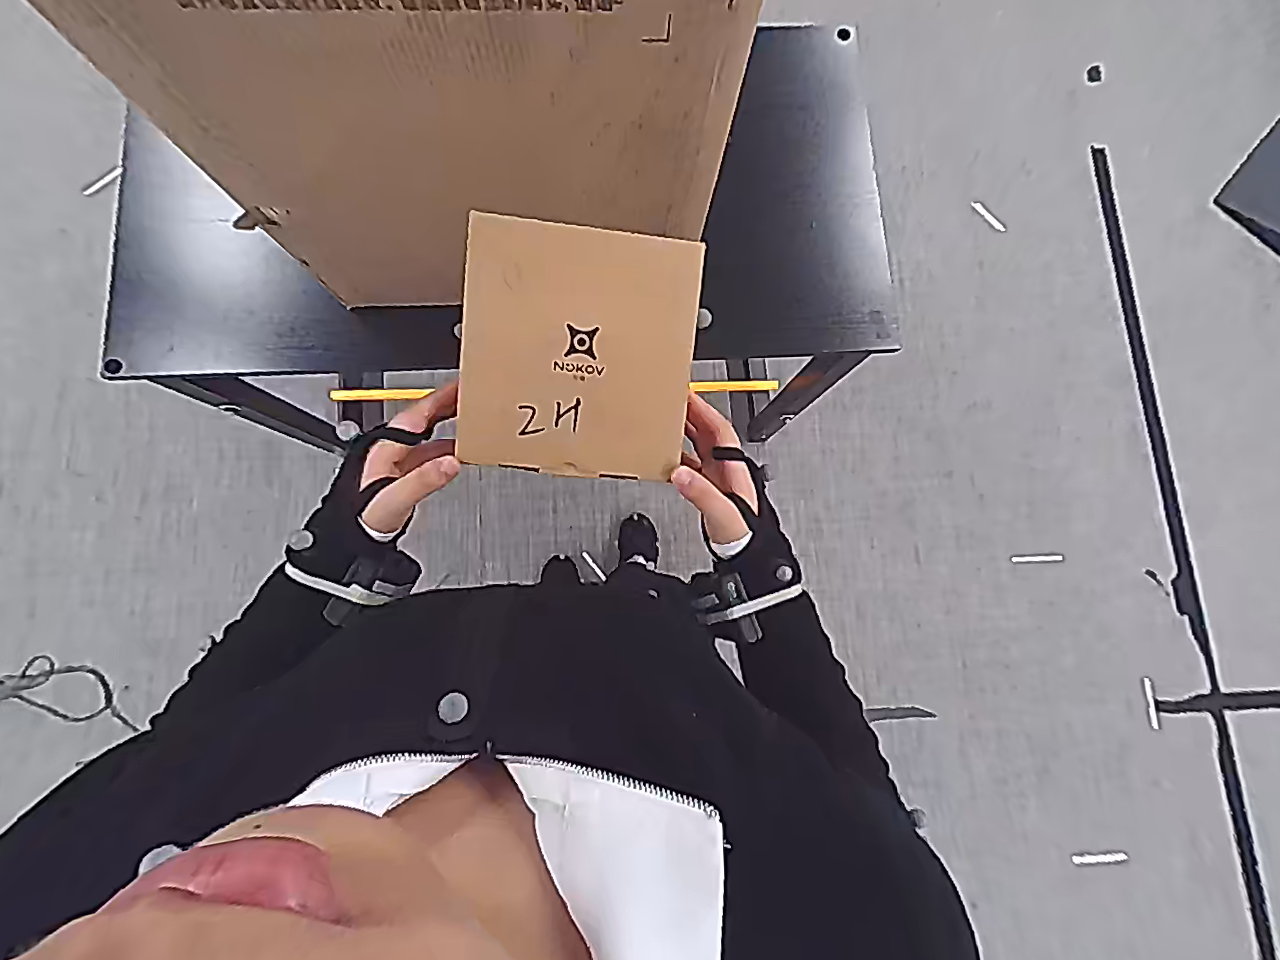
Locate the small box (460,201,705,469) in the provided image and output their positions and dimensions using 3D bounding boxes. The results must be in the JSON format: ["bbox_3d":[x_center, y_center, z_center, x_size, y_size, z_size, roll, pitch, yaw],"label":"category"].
[{"bbox_3d":[-0.049,-0.111,0.469,0.168,0.176,0.179,5,97,-5],"label":"small box"}]
